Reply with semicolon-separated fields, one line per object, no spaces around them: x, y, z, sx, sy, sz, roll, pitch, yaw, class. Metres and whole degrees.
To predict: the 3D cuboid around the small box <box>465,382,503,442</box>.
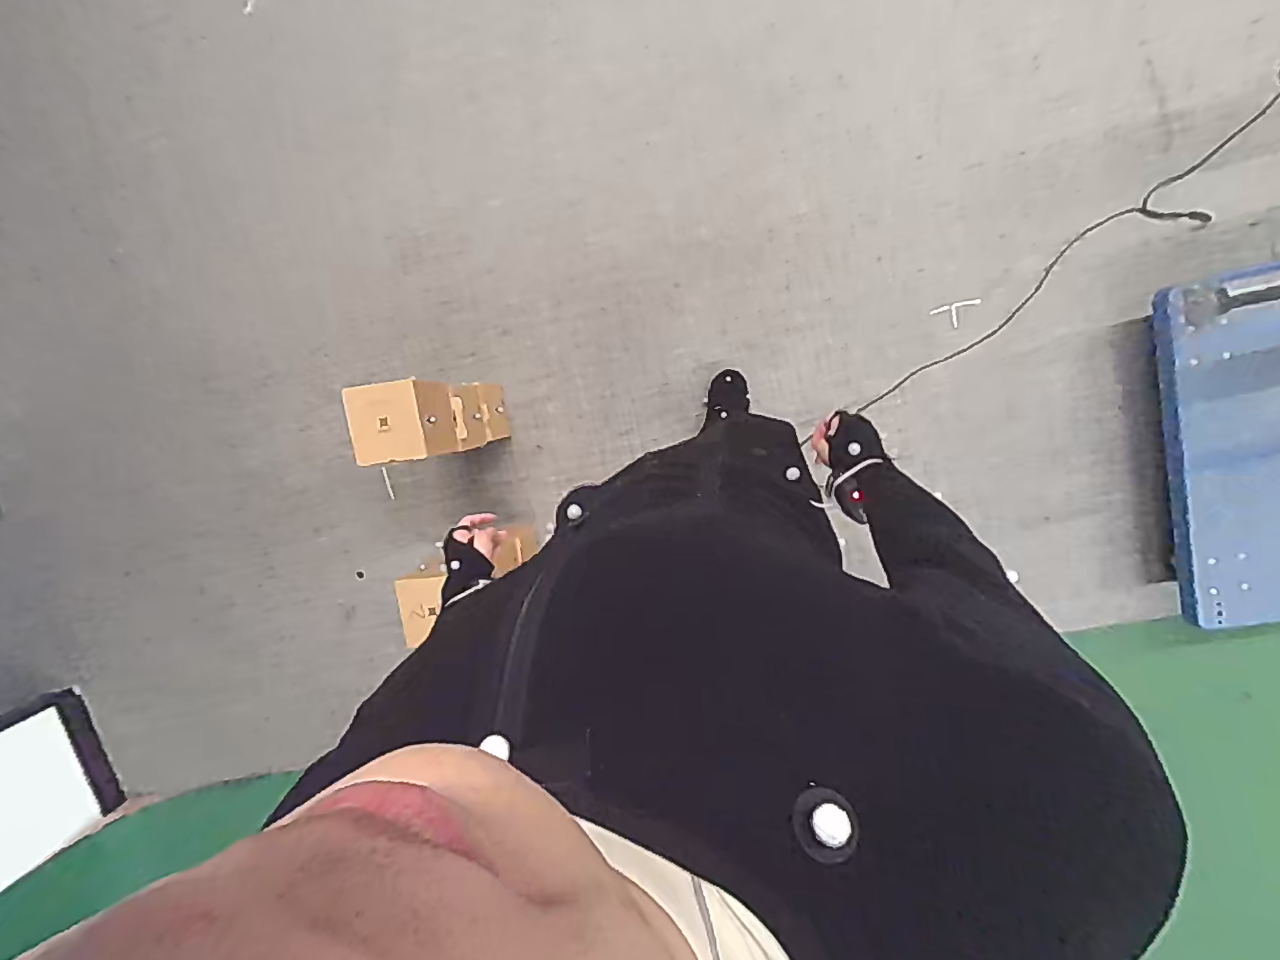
-0.510;-0.189;1.562;0.179;0.176;0.168;-10;98;6;small box

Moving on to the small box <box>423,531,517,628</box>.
-0.456;0.266;1.475;0.168;0.176;0.179;24;101;0;small box

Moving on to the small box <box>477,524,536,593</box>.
-0.423;0.235;1.624;0.179;0.176;0.168;-7;98;8;small box

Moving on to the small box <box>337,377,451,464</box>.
-0.552;-0.140;1.240;0.168;0.176;0.179;-6;99;6;small box

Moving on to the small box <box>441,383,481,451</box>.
-0.536;-0.160;1.402;0.179;0.176;0.168;-5;100;7;small box
